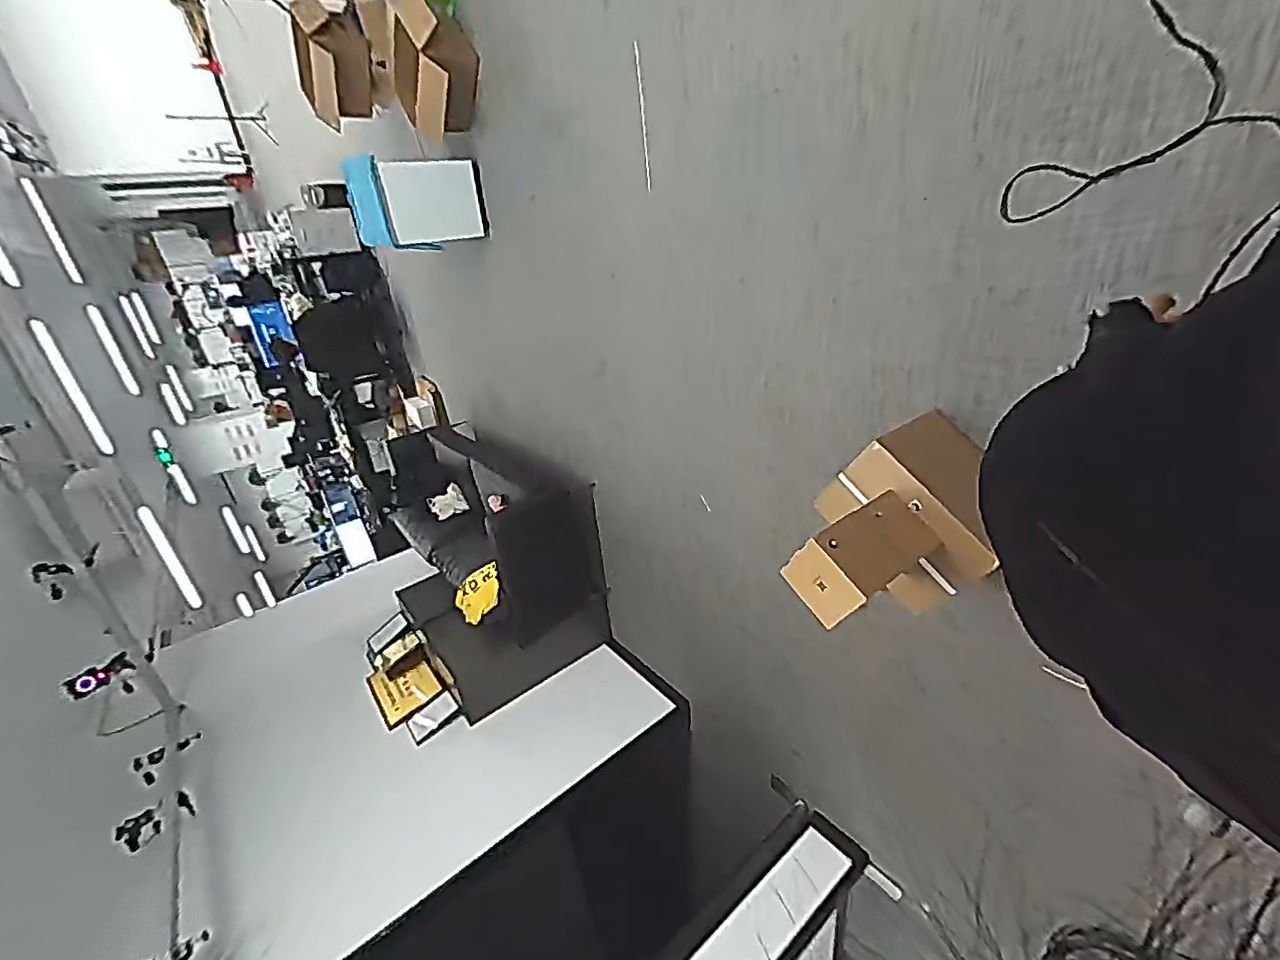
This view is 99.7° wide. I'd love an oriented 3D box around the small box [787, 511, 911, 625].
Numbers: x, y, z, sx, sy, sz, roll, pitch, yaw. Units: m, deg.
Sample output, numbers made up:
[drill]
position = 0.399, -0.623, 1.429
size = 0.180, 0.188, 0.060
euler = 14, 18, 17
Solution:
[small box]
position = 0.489, 0.202, 1.269
size = 0.179, 0.176, 0.168
euler = 53, 146, 24
